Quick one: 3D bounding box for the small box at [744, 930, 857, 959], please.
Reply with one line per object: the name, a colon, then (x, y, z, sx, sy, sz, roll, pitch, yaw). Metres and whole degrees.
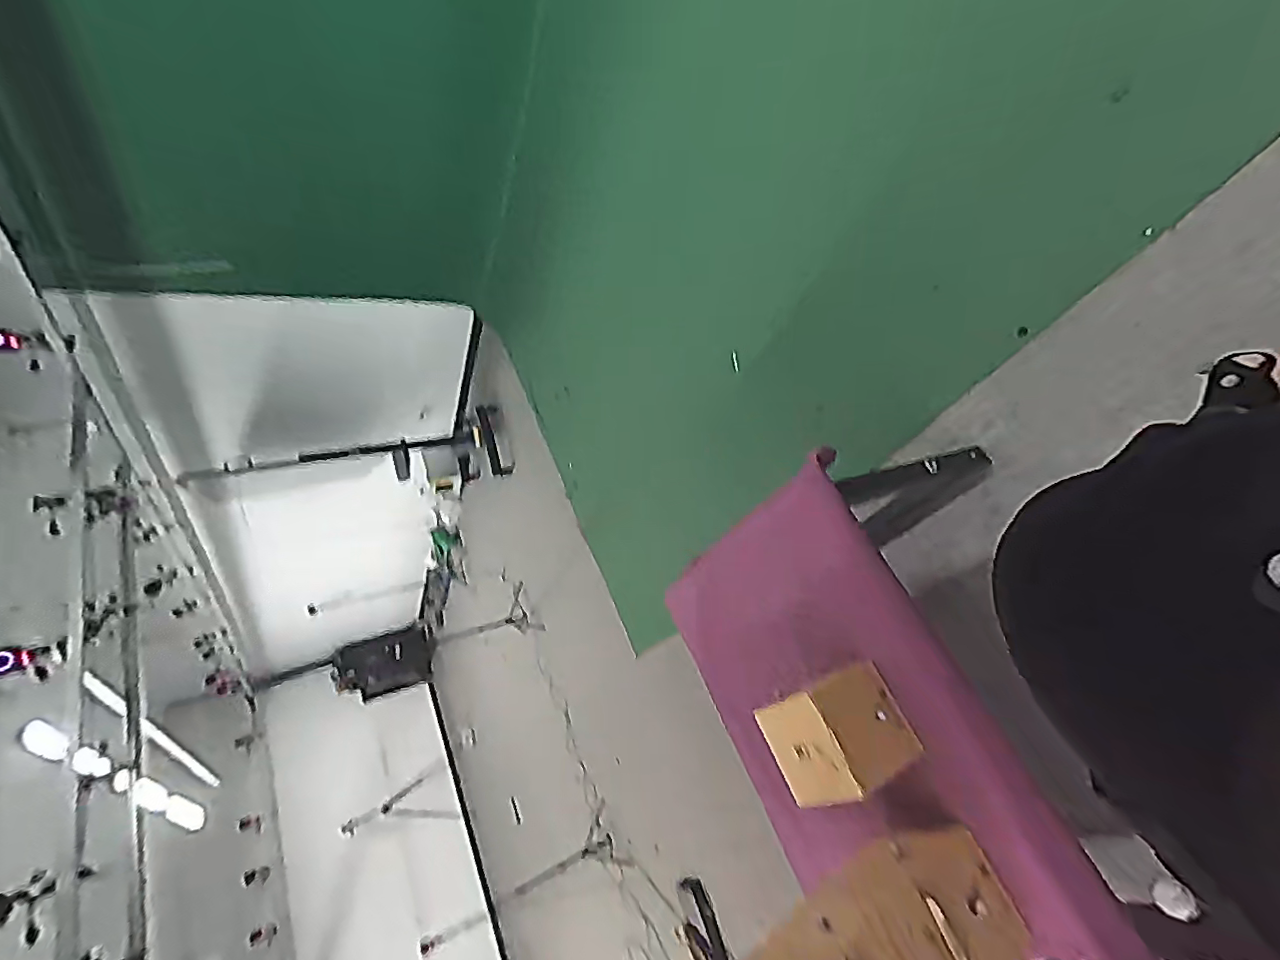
small box: (0.201, 0.710, 0.678, 0.168, 0.176, 0.179, 65, 146, 22)

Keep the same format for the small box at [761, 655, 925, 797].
small box: (0.358, 0.436, 0.963, 0.168, 0.176, 0.179, 63, 145, 22)

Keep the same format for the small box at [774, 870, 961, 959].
small box: (0.335, 0.688, 0.768, 0.168, 0.176, 0.179, 64, 146, 23)

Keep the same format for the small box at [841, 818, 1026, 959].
small box: (0.469, 0.666, 0.861, 0.168, 0.176, 0.179, 64, 144, 23)
